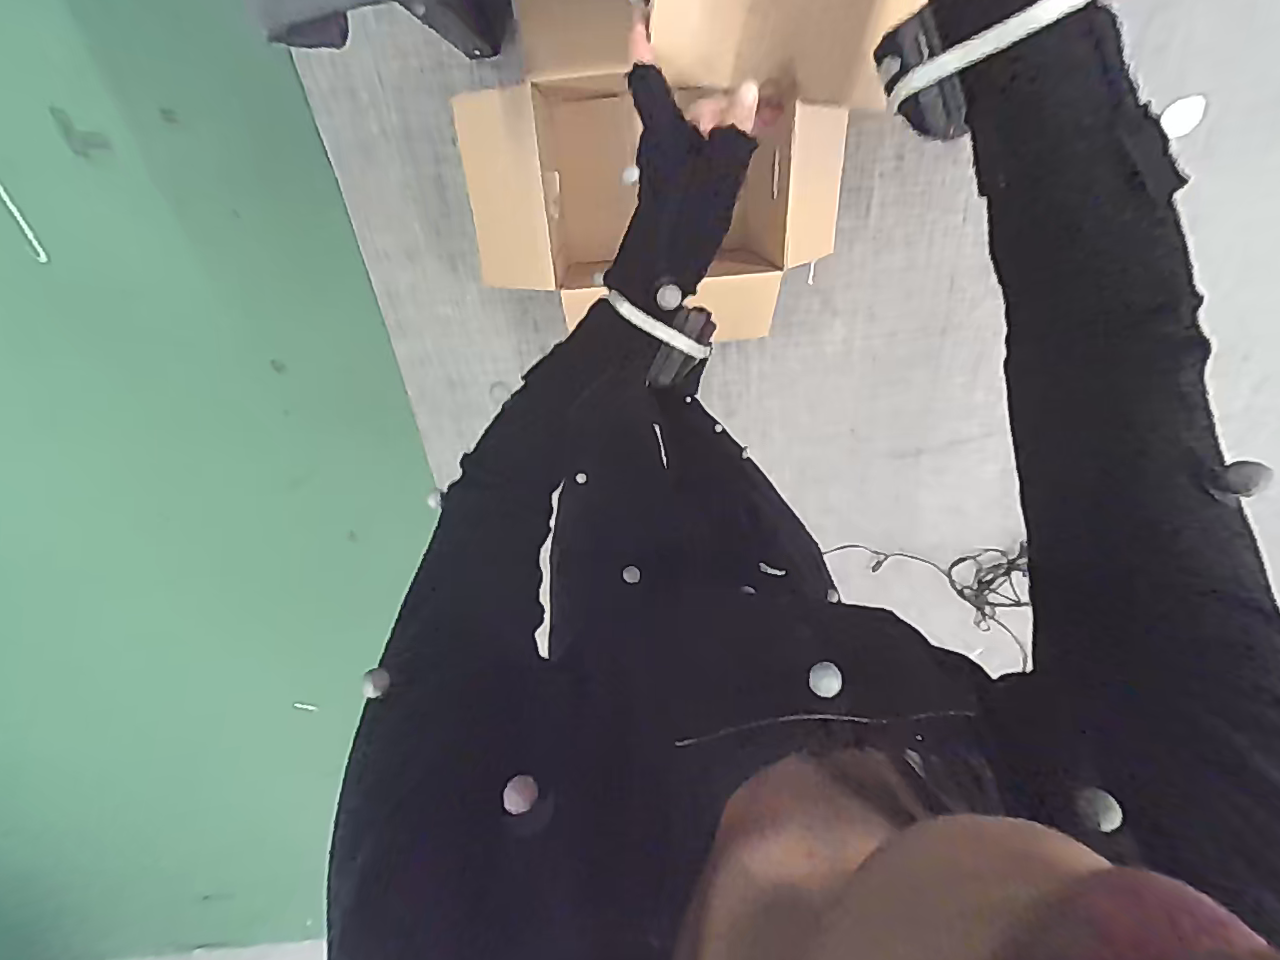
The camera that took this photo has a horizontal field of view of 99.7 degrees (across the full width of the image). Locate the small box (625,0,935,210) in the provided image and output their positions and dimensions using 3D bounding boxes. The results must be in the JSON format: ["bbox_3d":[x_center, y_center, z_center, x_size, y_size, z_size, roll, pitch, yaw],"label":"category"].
[{"bbox_3d":[0.084,-0.331,0.388,0.168,0.176,0.179,6,138,-11],"label":"small box"}]
